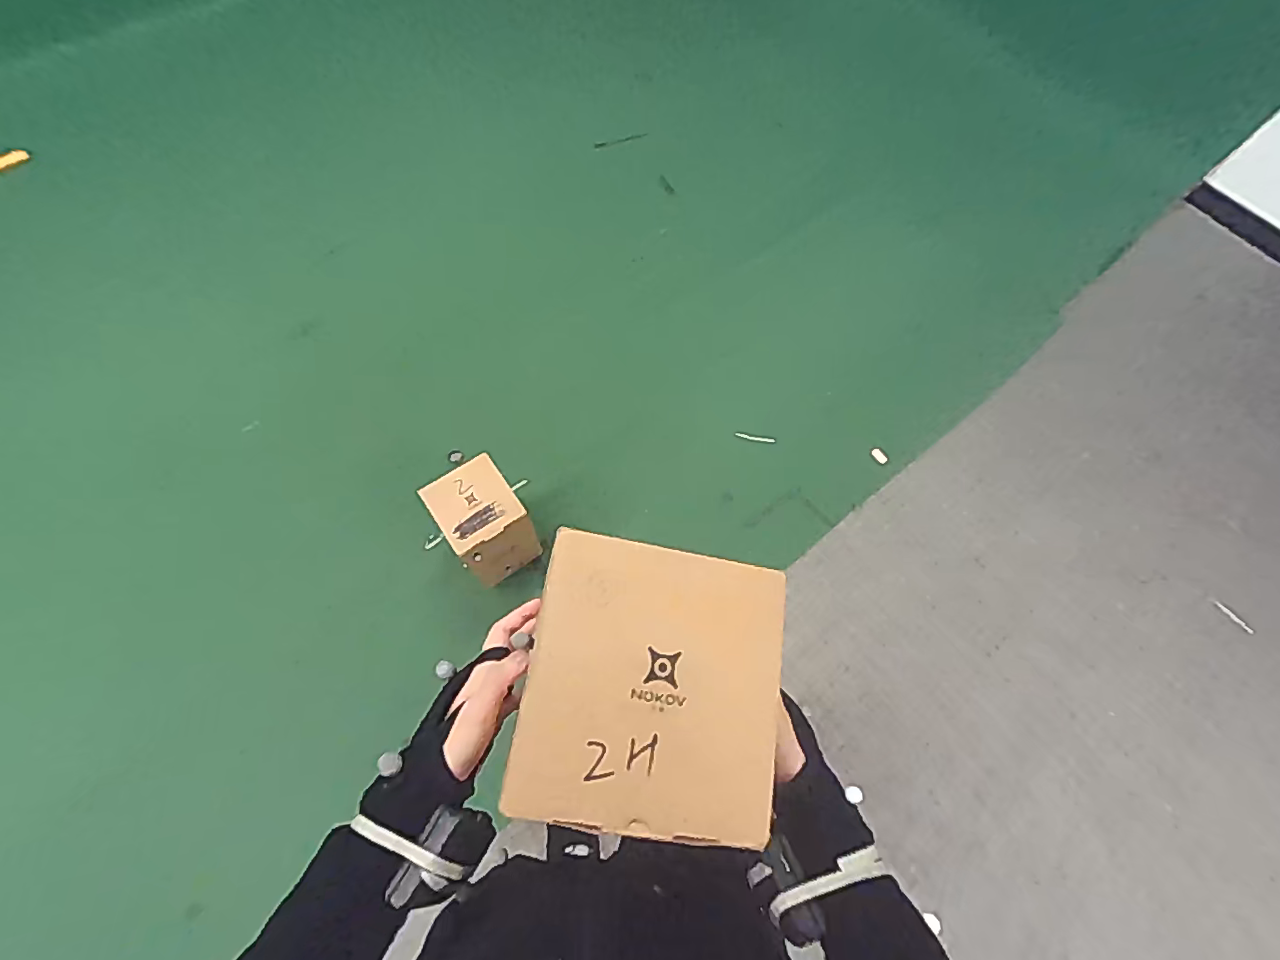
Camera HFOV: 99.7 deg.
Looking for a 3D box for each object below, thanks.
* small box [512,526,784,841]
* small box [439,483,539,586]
[{"bbox_3d":[-0.003,0.153,0.428,0.168,0.176,0.179,12,70,-8],"label":"small box"},{"bbox_3d":[-0.373,0.143,1.362,0.168,0.176,0.179,-34,74,-16],"label":"small box"}]
